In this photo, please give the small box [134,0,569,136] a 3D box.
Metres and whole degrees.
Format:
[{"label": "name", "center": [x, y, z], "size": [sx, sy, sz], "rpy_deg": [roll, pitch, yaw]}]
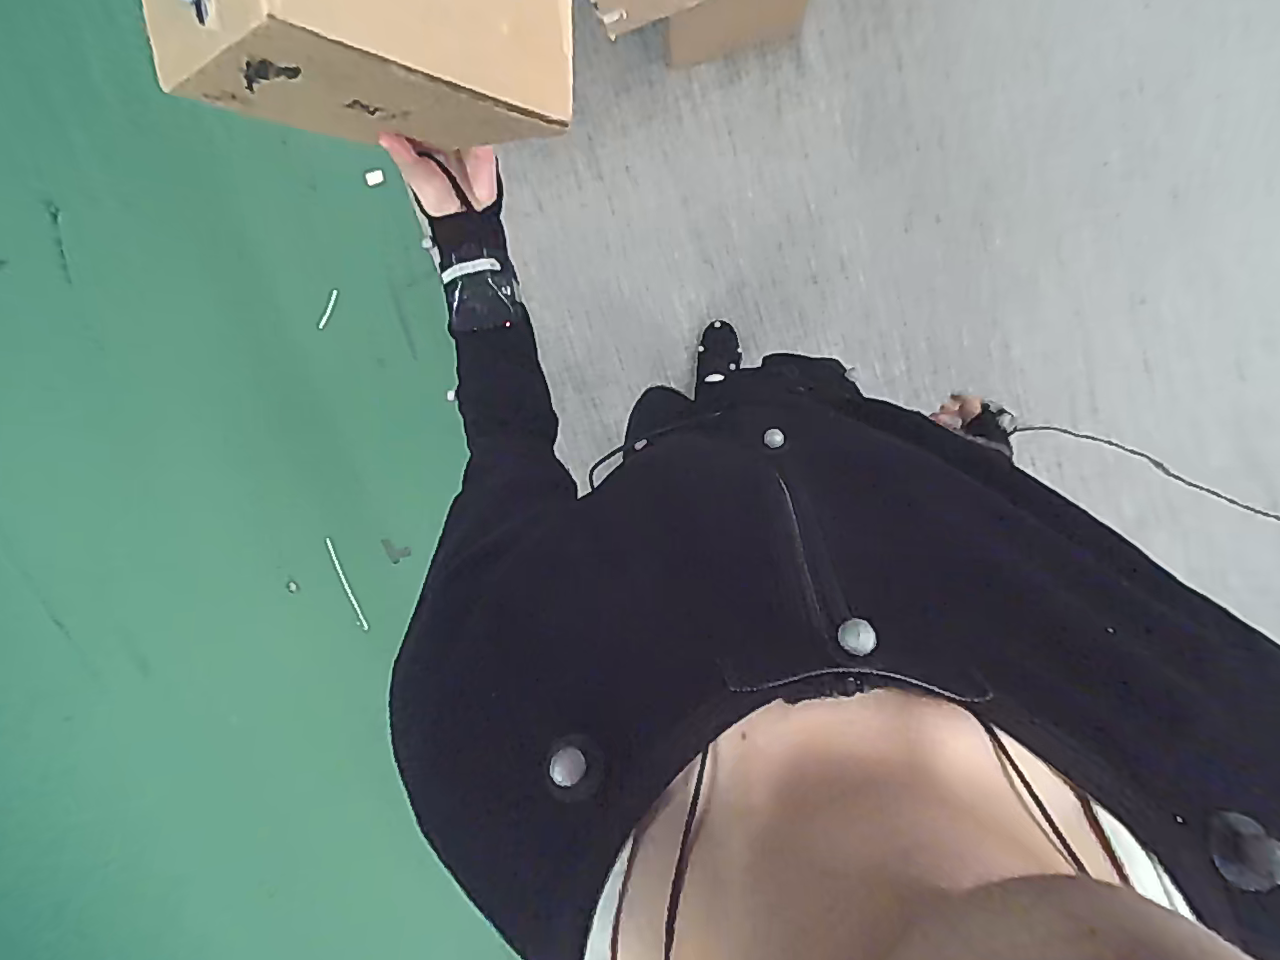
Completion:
[{"label": "small box", "center": [-0.153, -0.309, 0.291], "size": [0.168, 0.179, 0.176], "rpy_deg": [17, 113, 35]}]
